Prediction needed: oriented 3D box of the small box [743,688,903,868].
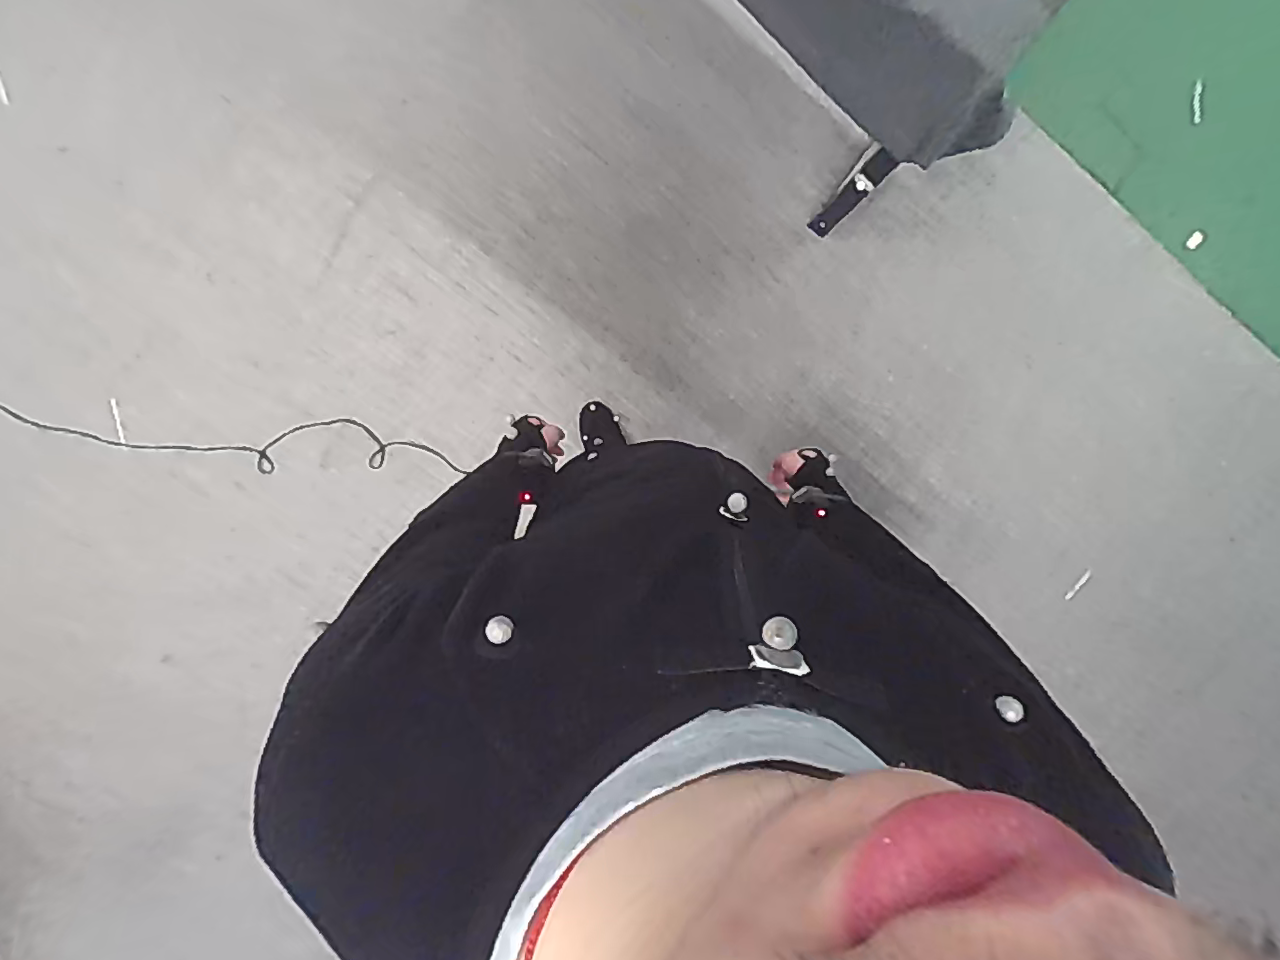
[{"bbox_3d":[0.302,0.502,0.939,0.168,0.176,0.179,41,94,-5],"label":"small box"}]
